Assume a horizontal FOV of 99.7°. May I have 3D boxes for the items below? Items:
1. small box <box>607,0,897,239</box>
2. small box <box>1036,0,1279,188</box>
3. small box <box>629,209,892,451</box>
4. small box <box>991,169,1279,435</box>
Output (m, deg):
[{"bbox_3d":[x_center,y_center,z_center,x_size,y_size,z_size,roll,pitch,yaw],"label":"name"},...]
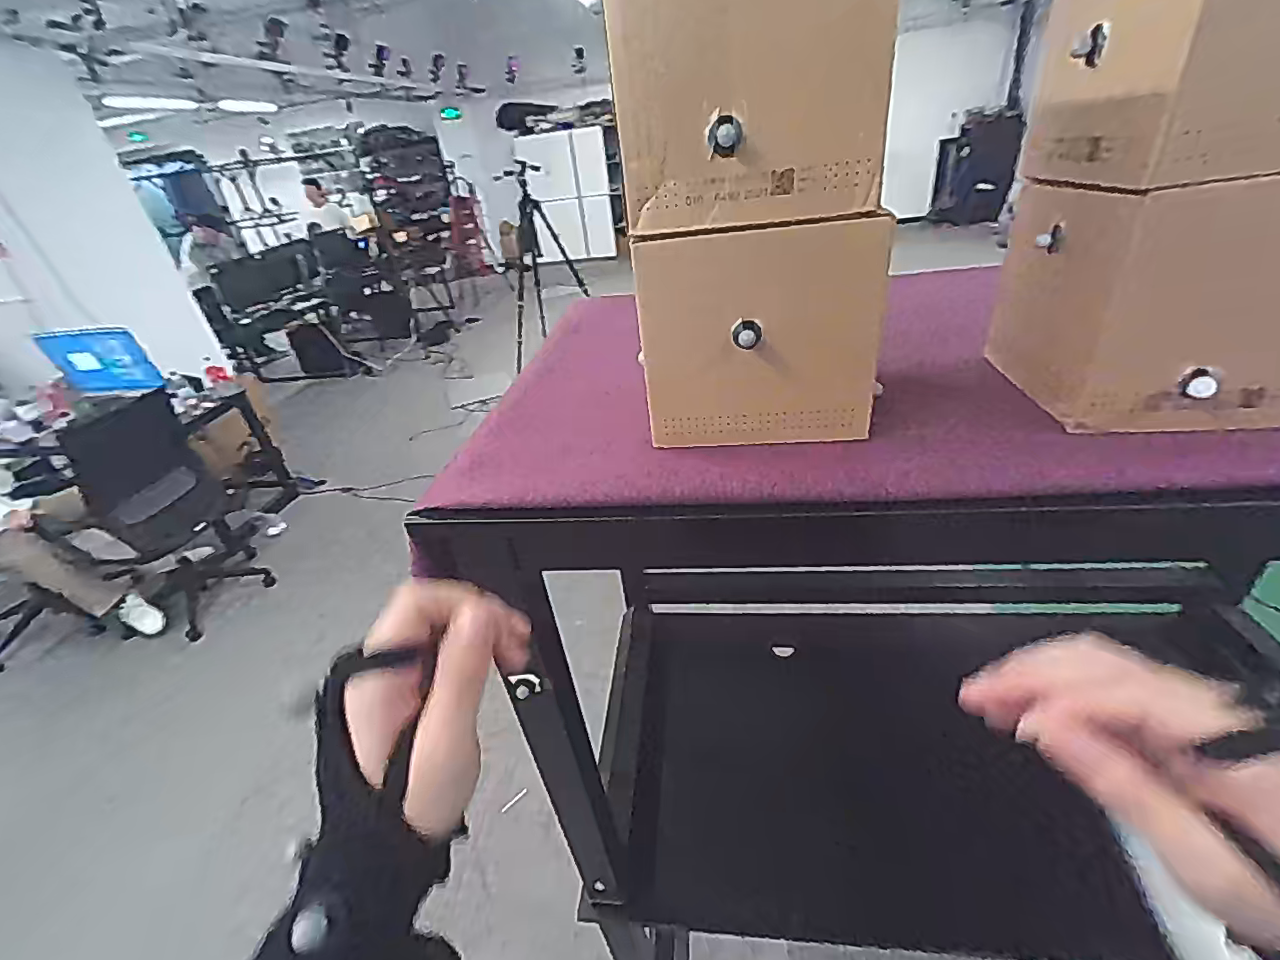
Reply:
[{"bbox_3d":[0.074,-0.280,0.392,0.168,0.176,0.179,-2,32,10],"label":"small box"},{"bbox_3d":[0.375,-0.283,0.327,0.179,0.176,0.168,-3,32,12],"label":"small box"},{"bbox_3d":[0.097,-0.137,0.468,0.179,0.176,0.168,-3,31,10],"label":"small box"},{"bbox_3d":[0.400,-0.146,0.415,0.168,0.176,0.179,-2,32,12],"label":"small box"}]
